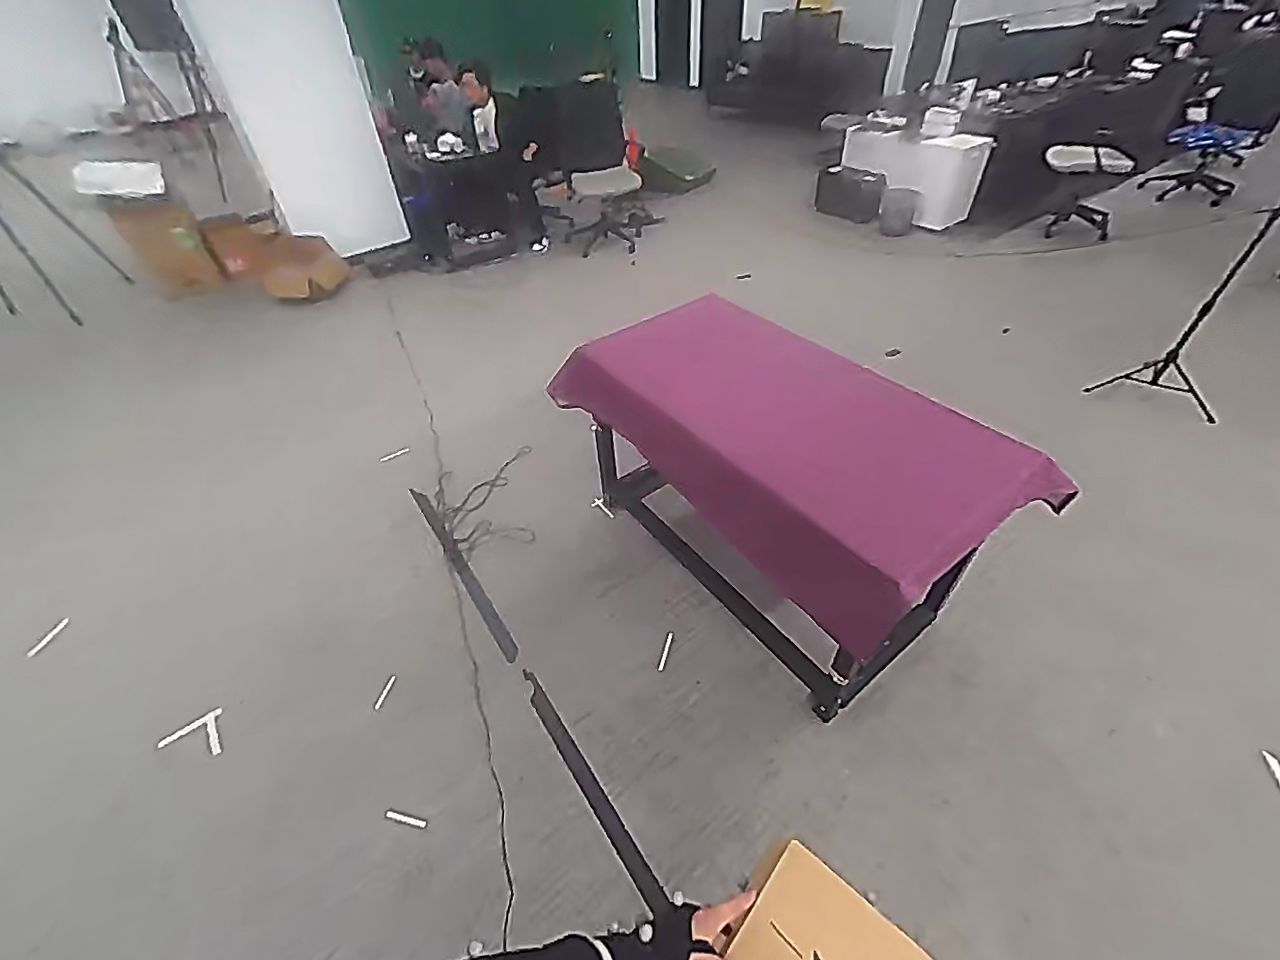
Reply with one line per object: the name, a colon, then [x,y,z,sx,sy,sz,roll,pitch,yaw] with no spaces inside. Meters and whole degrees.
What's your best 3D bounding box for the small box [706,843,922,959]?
small box: [0.189,0.542,0.608,0.179,0.176,0.168,33,68,24]
